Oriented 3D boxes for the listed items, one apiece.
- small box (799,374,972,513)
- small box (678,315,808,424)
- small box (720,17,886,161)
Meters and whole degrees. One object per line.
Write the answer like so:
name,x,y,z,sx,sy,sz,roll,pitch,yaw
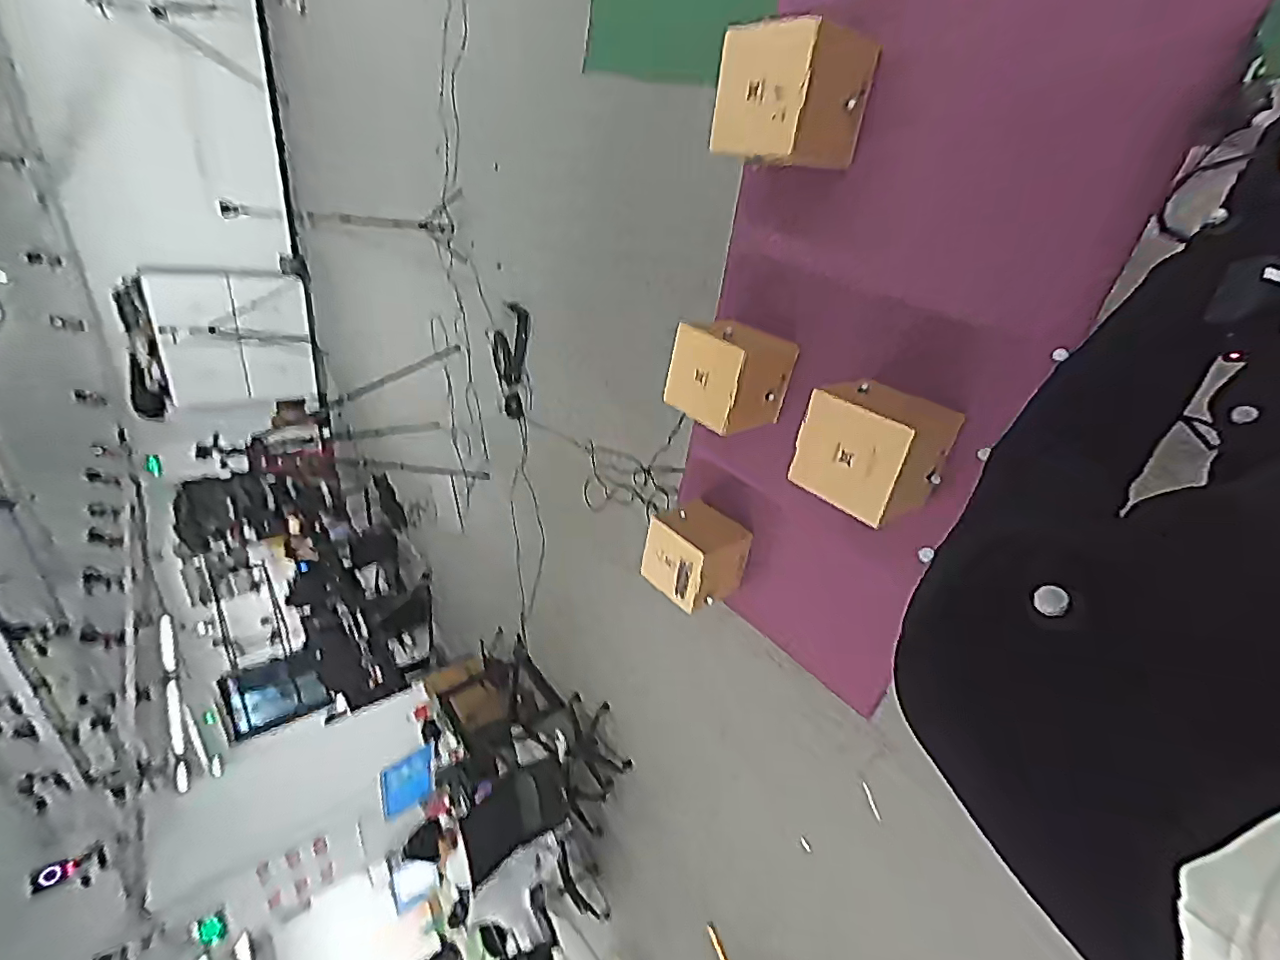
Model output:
small box,0.405,-0.071,0.903,0.179,0.176,0.168,38,131,41
small box,0.209,-0.233,1.109,0.179,0.176,0.168,37,129,38
small box,0.262,-0.628,0.887,0.179,0.176,0.168,35,131,41
